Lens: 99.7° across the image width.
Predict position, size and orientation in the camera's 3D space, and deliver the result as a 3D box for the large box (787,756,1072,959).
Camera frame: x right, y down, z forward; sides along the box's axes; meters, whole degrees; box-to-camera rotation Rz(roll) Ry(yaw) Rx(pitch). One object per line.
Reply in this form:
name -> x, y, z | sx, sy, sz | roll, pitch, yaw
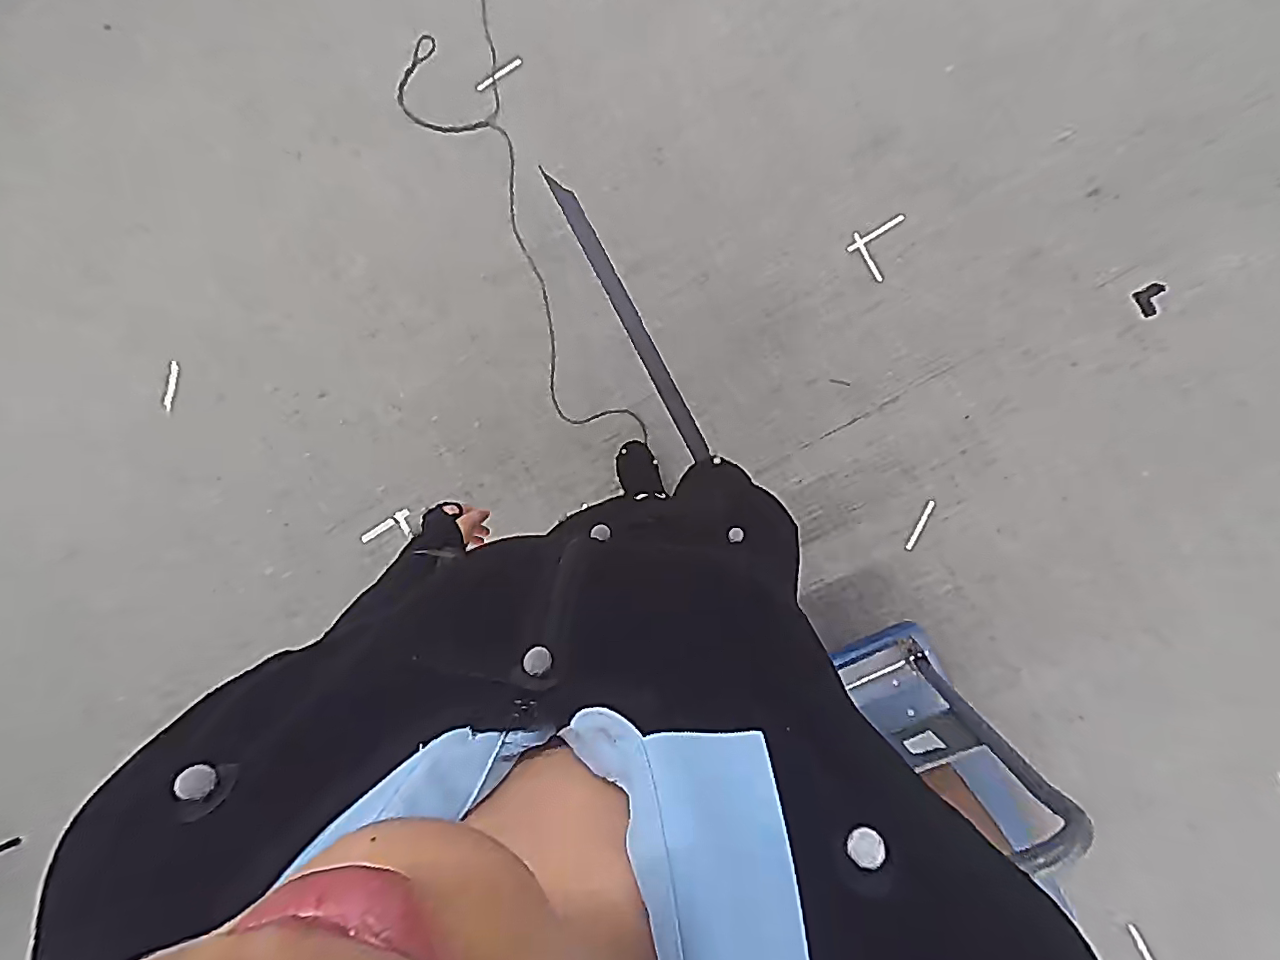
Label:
large box -> 0.579, 0.867, 1.139 | 0.408, 0.320, 0.320 | -26, 91, 7
